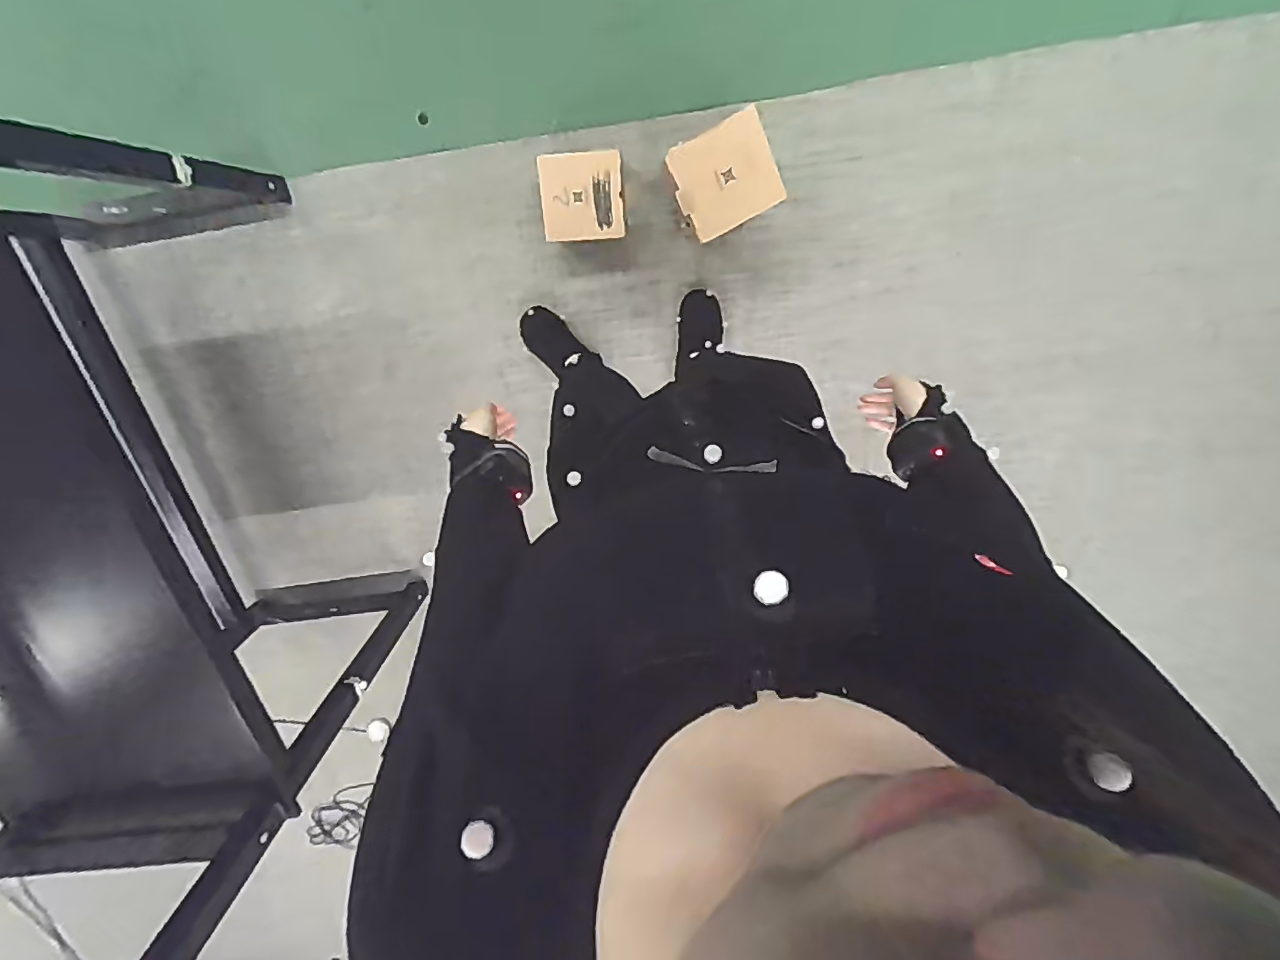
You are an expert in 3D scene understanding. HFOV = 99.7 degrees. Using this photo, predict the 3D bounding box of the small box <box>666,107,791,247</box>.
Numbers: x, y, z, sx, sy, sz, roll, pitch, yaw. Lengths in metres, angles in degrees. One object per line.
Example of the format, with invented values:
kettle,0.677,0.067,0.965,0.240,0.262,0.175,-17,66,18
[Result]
small box,0.161,-0.564,1.033,0.179,0.176,0.168,-26,112,11
